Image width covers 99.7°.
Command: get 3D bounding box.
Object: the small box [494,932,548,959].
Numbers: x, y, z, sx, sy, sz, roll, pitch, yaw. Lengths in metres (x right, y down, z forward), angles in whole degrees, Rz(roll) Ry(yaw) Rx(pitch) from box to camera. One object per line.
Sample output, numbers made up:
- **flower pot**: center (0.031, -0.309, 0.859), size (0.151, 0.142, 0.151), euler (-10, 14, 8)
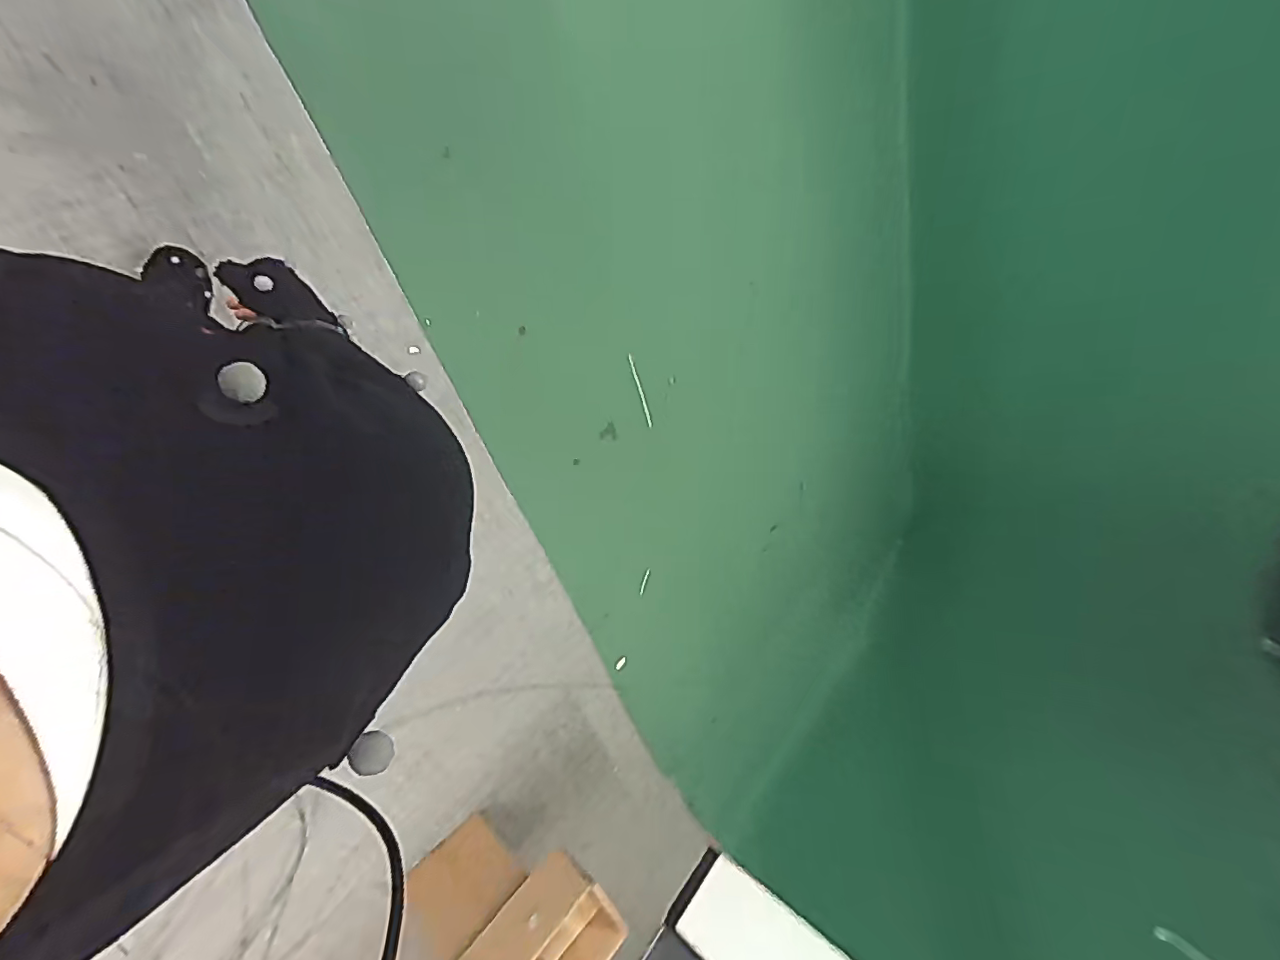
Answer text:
- **small box**: center (-0.348, 1.498, 1.601), size (0.168, 0.176, 0.179), euler (-41, 131, -29)
